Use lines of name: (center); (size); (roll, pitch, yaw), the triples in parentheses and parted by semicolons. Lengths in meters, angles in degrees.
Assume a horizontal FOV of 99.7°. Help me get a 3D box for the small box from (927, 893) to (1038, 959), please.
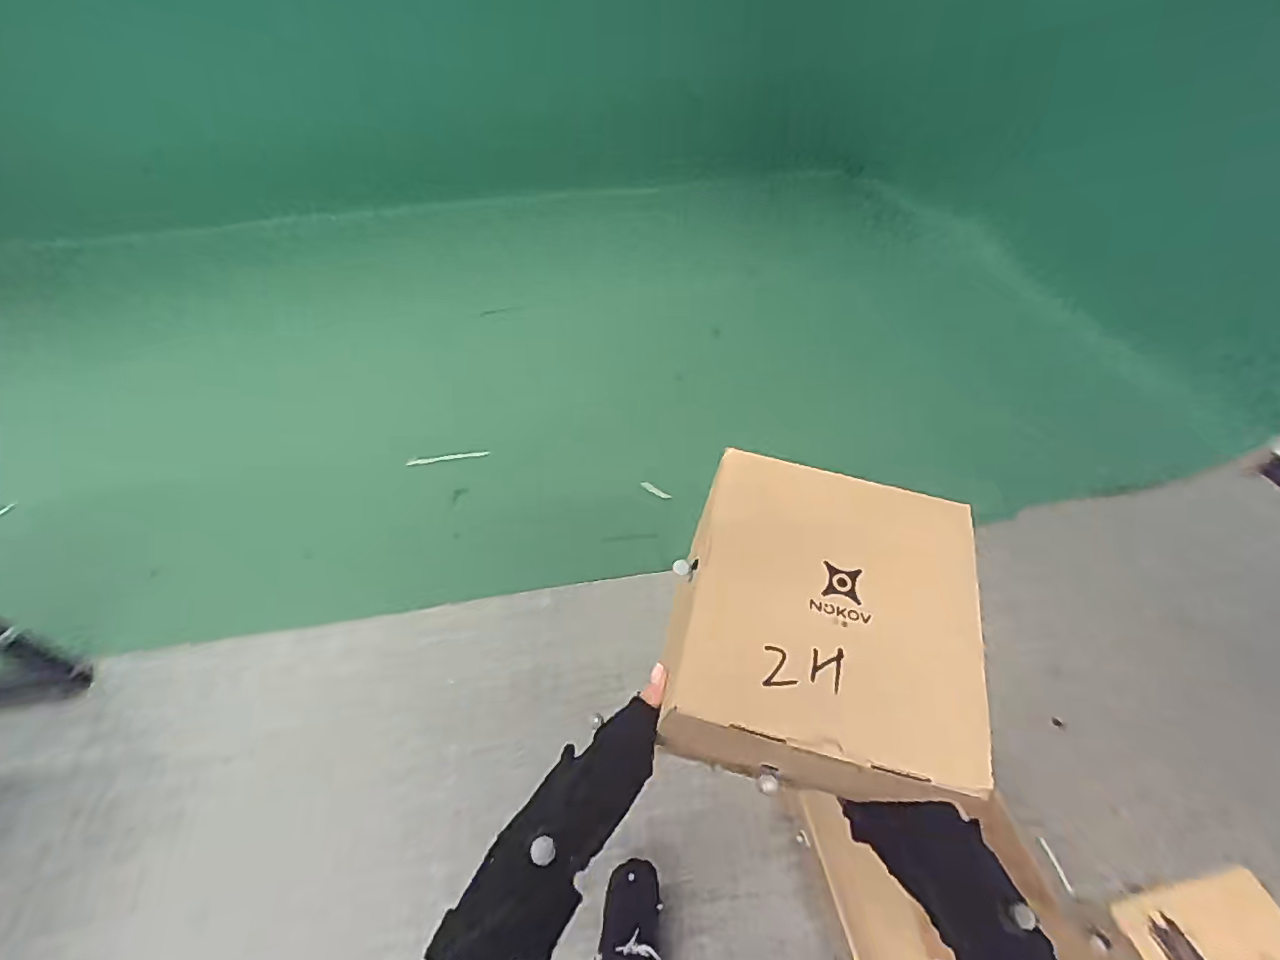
small box: (0.651, 0.879, 0.973); (0.179, 0.176, 0.168); (-12, 46, -8)

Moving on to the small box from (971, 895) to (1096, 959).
small box: (0.646, 0.765, 0.830); (0.179, 0.176, 0.168); (-9, 47, -5)

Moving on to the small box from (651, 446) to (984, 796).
small box: (0.107, 0.107, 0.386); (0.168, 0.176, 0.179); (13, 59, 4)

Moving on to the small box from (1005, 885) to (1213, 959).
small box: (0.633, 0.666, 0.722); (0.179, 0.176, 0.168); (-8, 48, -4)
